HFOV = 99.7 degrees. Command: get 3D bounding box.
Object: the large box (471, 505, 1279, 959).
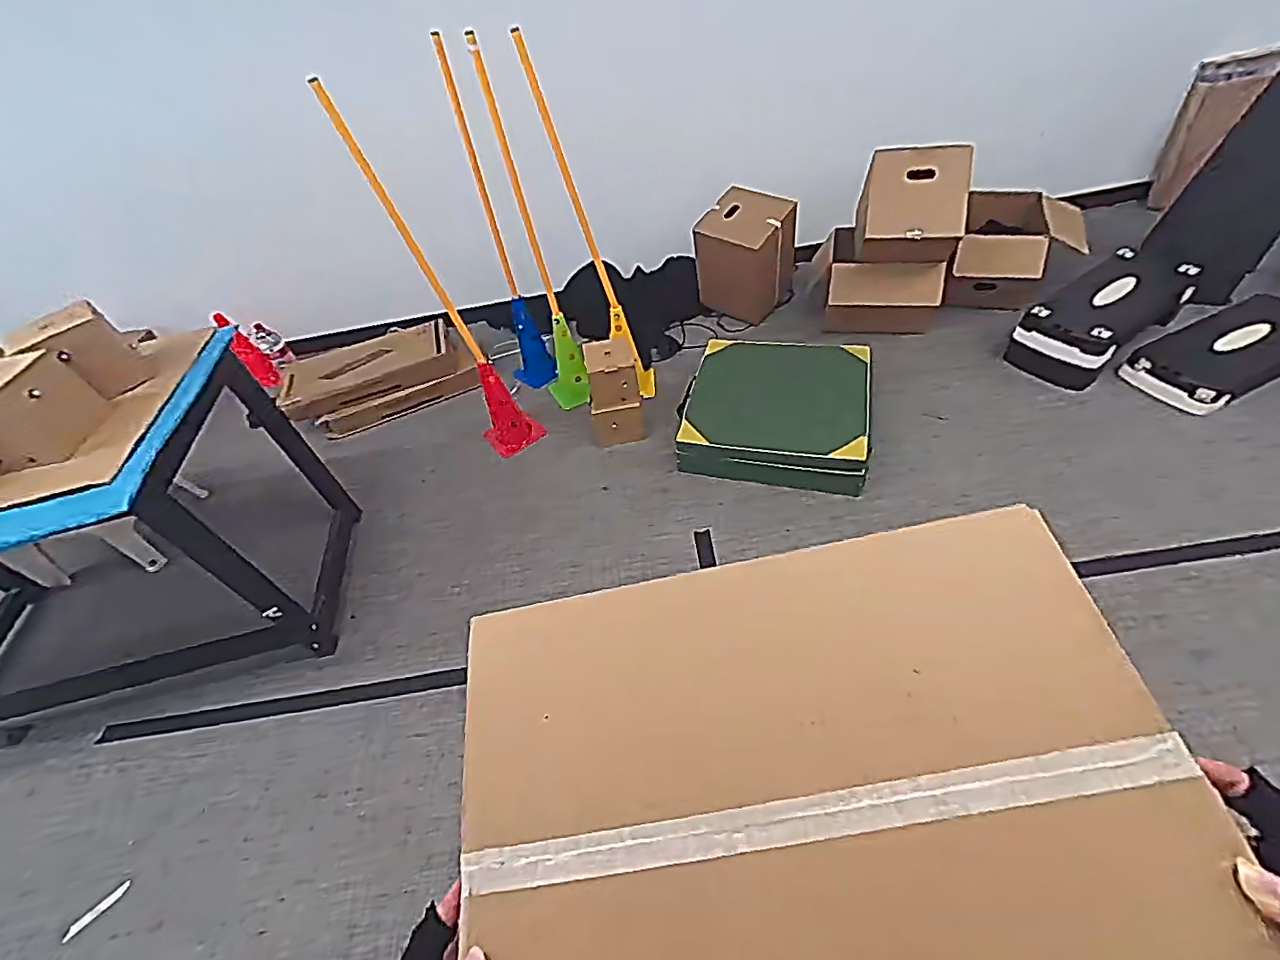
[{"bbox_3d":[0.121,0.263,0.439,0.408,0.320,0.320,-13,56,5],"label":"large box"}]
